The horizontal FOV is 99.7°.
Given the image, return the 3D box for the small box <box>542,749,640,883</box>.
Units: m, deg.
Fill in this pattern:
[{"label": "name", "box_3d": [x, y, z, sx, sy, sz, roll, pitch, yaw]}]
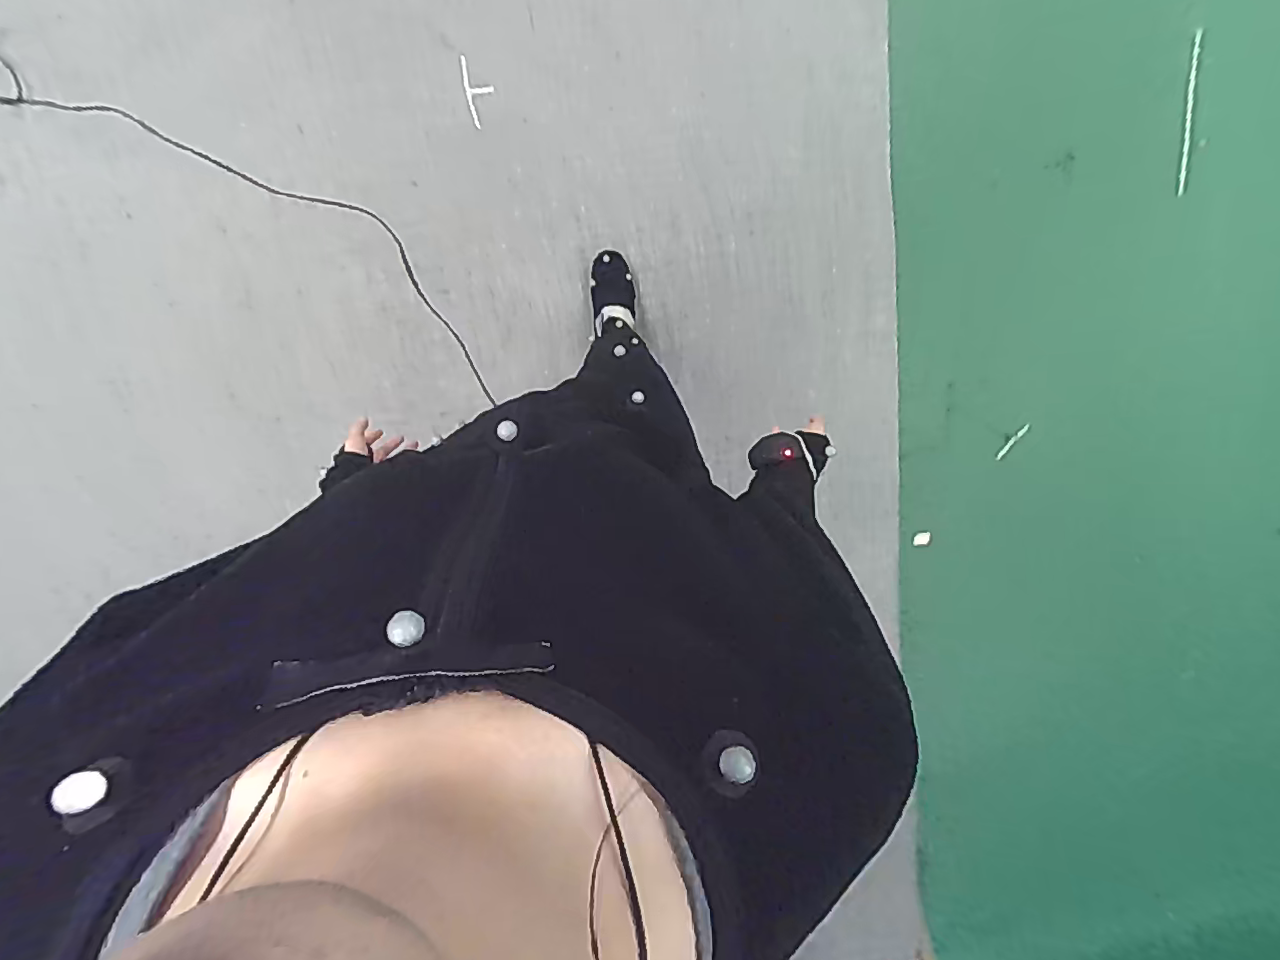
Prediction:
[{"label": "small box", "box_3d": [-0.103, 0.702, 1.147, 0.179, 0.176, 0.168, -8, 105, -2]}]
